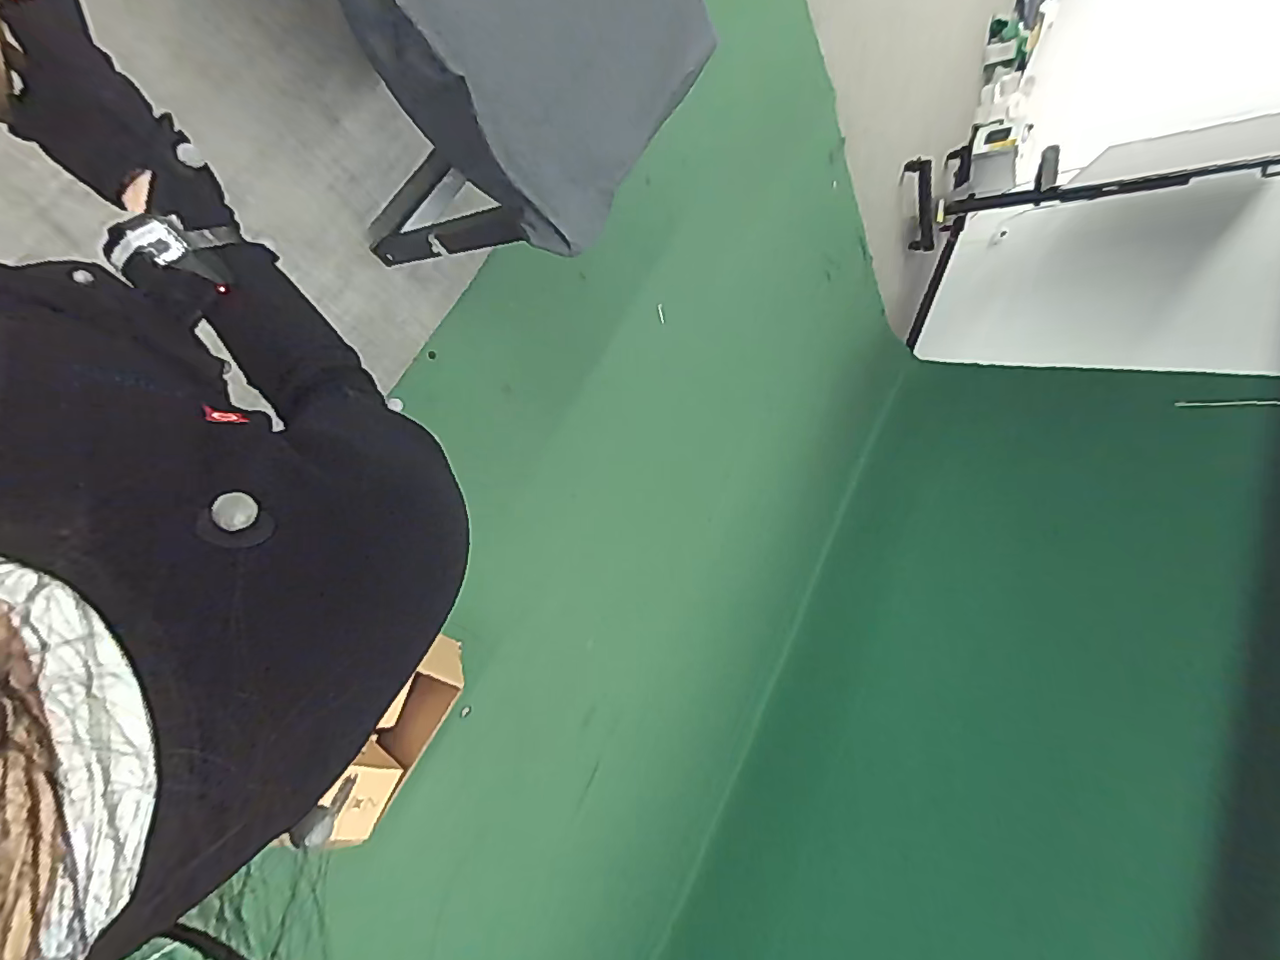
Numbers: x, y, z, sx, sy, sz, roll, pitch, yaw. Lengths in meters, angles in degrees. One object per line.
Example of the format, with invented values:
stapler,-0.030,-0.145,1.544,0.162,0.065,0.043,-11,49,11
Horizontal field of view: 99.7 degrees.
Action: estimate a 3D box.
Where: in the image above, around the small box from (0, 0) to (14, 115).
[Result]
small box,-0.467,-0.336,0.280,0.168,0.176,0.179,-9,103,-44
